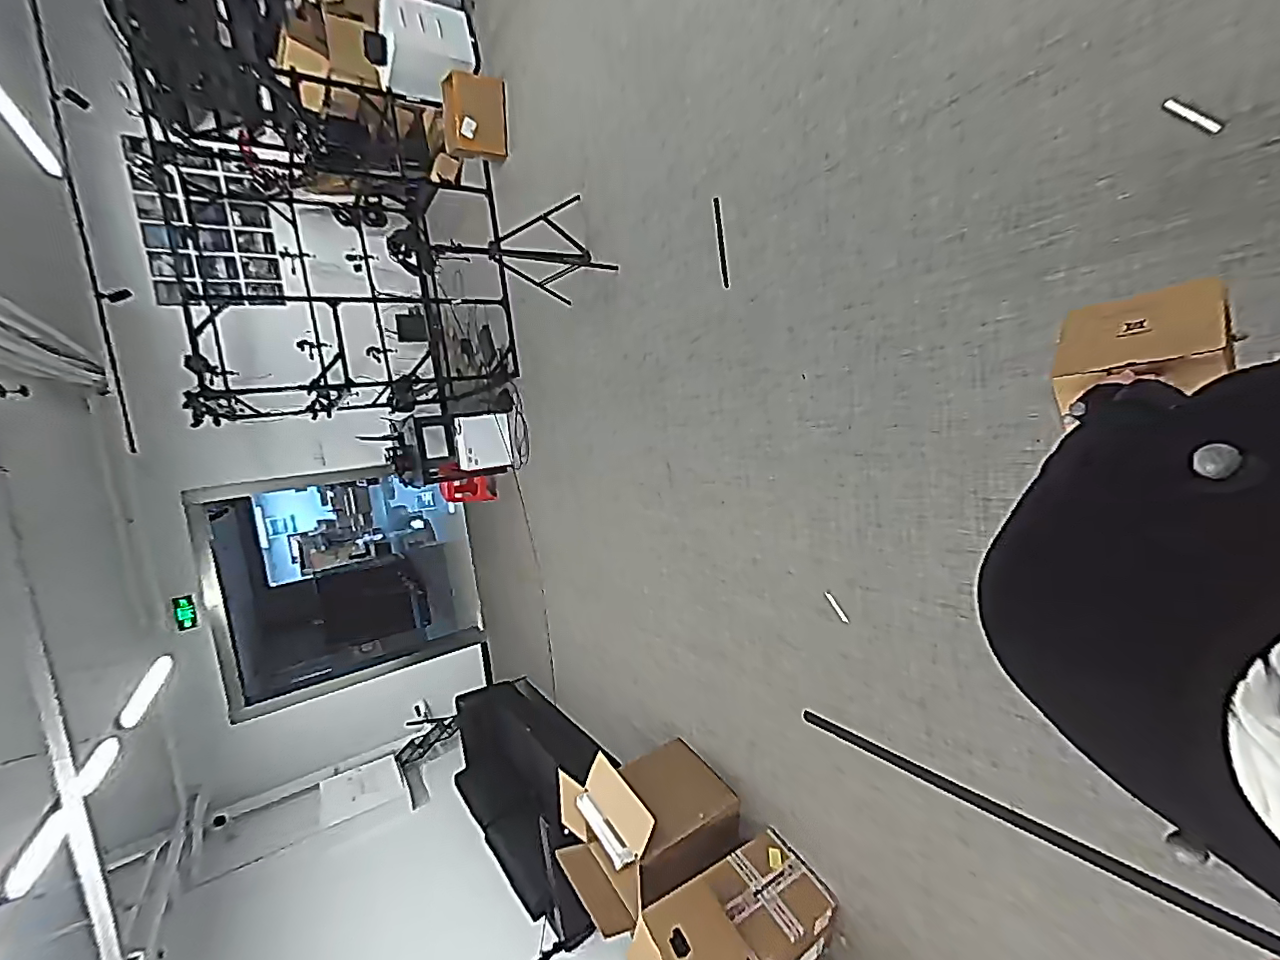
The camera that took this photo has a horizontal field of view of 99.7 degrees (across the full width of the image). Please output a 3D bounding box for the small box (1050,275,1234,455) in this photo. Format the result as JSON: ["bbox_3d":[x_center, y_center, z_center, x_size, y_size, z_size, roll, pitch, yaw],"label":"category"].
[{"bbox_3d":[0.707,-0.147,0.759,0.168,0.179,0.176,-3,131,49],"label":"small box"}]
